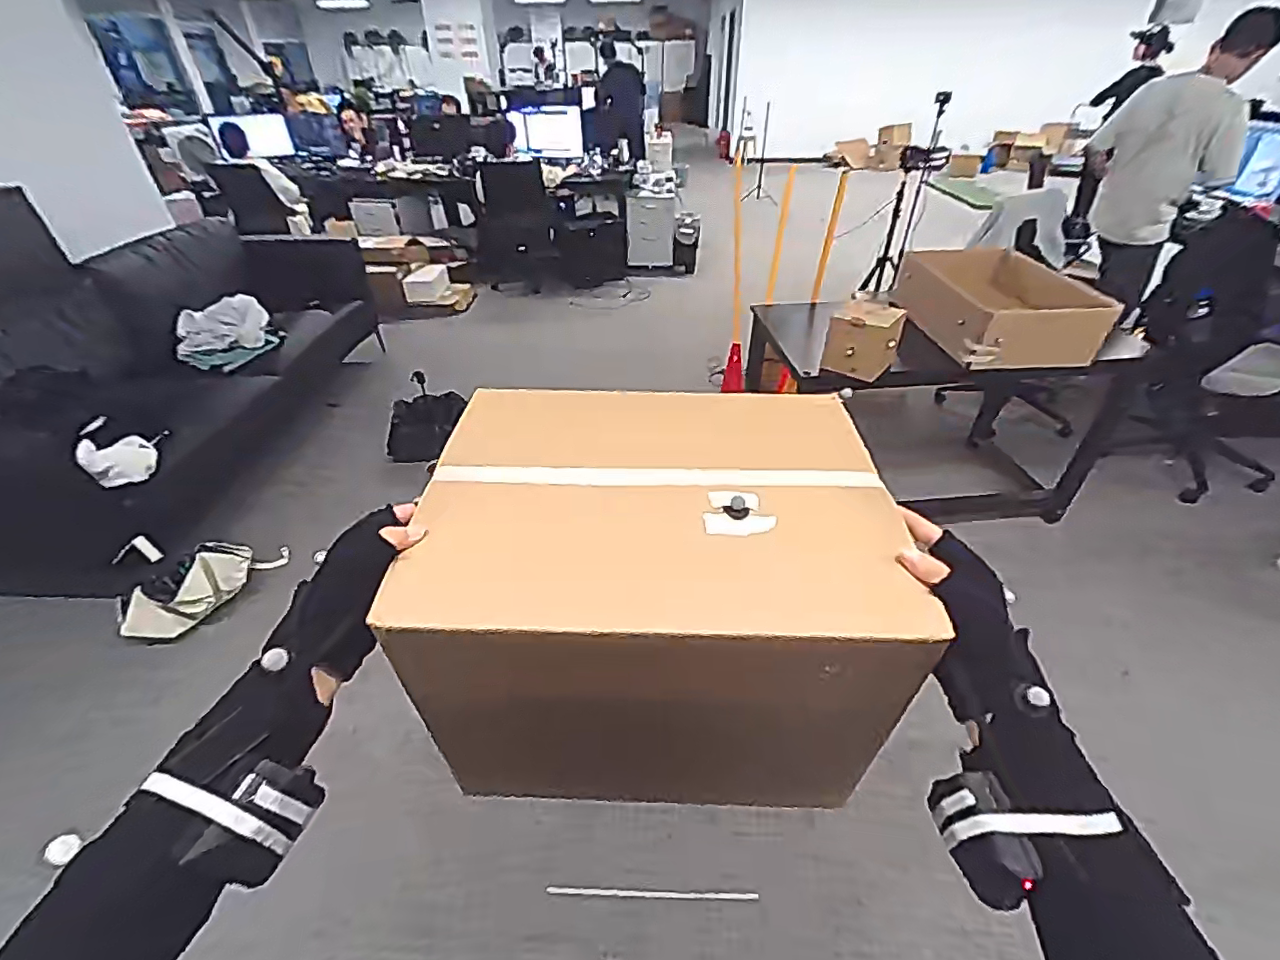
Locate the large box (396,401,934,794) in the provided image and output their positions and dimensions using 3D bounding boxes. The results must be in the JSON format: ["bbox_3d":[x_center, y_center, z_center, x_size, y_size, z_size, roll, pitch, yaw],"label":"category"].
[{"bbox_3d":[0.016,0.124,0.599,0.408,0.320,0.320,2,40,0],"label":"large box"}]
